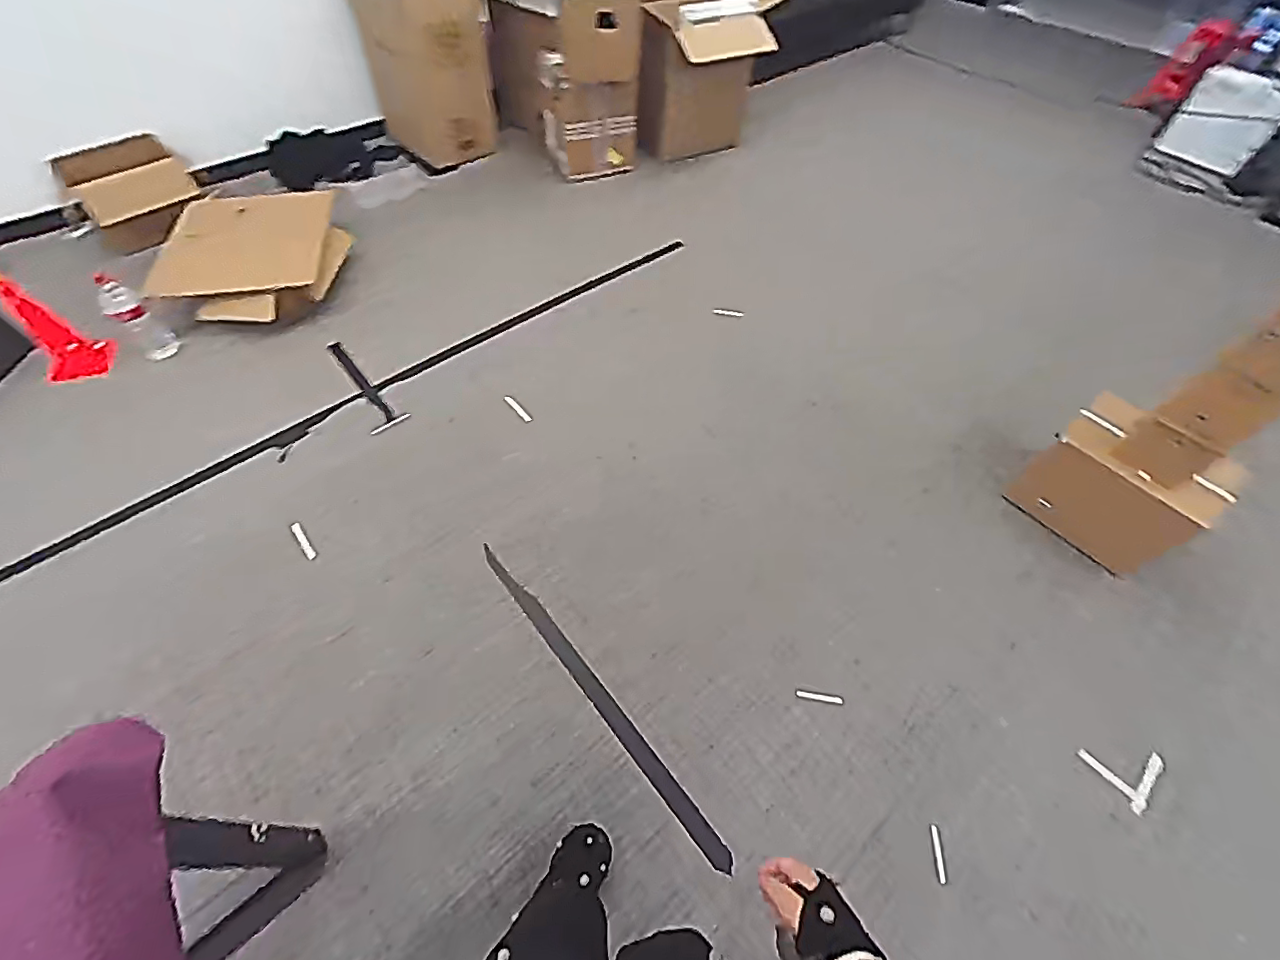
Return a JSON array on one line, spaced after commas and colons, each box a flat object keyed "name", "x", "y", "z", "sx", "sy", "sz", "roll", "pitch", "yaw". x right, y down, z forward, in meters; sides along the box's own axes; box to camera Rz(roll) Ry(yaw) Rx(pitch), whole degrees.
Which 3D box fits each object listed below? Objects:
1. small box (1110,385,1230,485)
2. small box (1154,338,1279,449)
[{"name": "small box", "x": 1.450, "y": -0.120, "z": 1.473, "sx": 0.168, "sy": 0.176, "sz": 0.179, "roll": -37, "pitch": 64, "yaw": -23}, {"name": "small box", "x": 1.444, "y": -0.212, "z": 1.339, "sx": 0.179, "sy": 0.176, "sz": 0.168, "roll": -36, "pitch": 62, "yaw": -22}]
